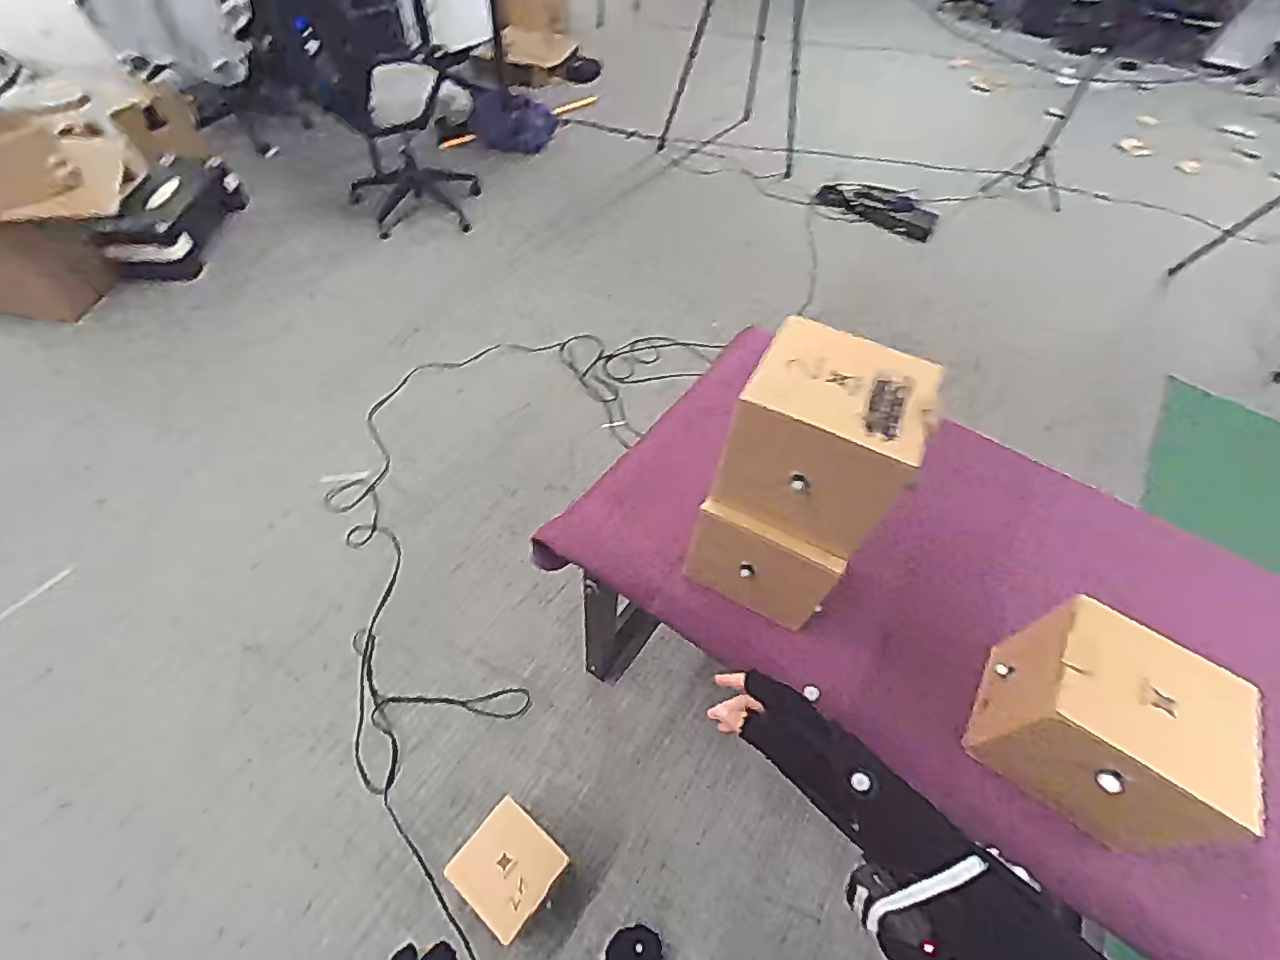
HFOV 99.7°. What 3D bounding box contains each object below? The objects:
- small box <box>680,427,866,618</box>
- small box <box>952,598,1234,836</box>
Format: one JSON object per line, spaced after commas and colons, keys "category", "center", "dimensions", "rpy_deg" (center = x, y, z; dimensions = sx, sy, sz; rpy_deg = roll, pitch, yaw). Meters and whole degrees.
{"category": "small box", "center": [0.174, 0.065, 0.740], "dimensions": [0.179, 0.176, 0.168], "rpy_deg": [26, 54, 13]}
{"category": "small box", "center": [0.506, 0.276, 0.622], "dimensions": [0.179, 0.176, 0.168], "rpy_deg": [32, 56, 18]}
